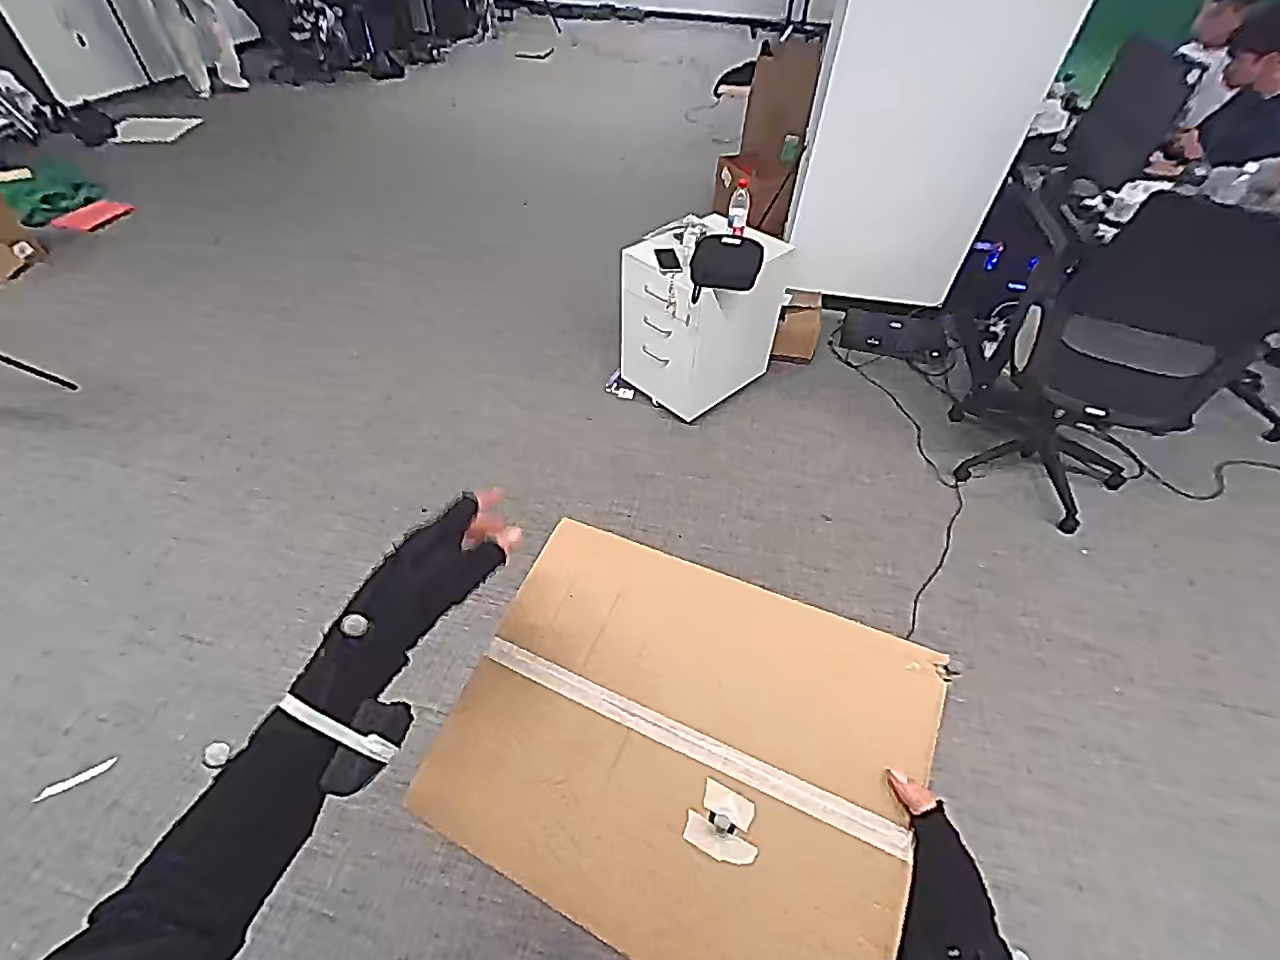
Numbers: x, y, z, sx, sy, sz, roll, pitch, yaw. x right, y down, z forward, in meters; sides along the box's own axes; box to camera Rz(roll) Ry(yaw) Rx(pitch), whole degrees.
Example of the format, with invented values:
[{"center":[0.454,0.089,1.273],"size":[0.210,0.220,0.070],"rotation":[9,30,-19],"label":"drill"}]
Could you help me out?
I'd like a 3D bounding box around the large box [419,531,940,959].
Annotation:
[{"center":[0.056,0.308,0.618],"size":[0.408,0.320,0.320],"rotation":[18,65,20],"label":"large box"}]
